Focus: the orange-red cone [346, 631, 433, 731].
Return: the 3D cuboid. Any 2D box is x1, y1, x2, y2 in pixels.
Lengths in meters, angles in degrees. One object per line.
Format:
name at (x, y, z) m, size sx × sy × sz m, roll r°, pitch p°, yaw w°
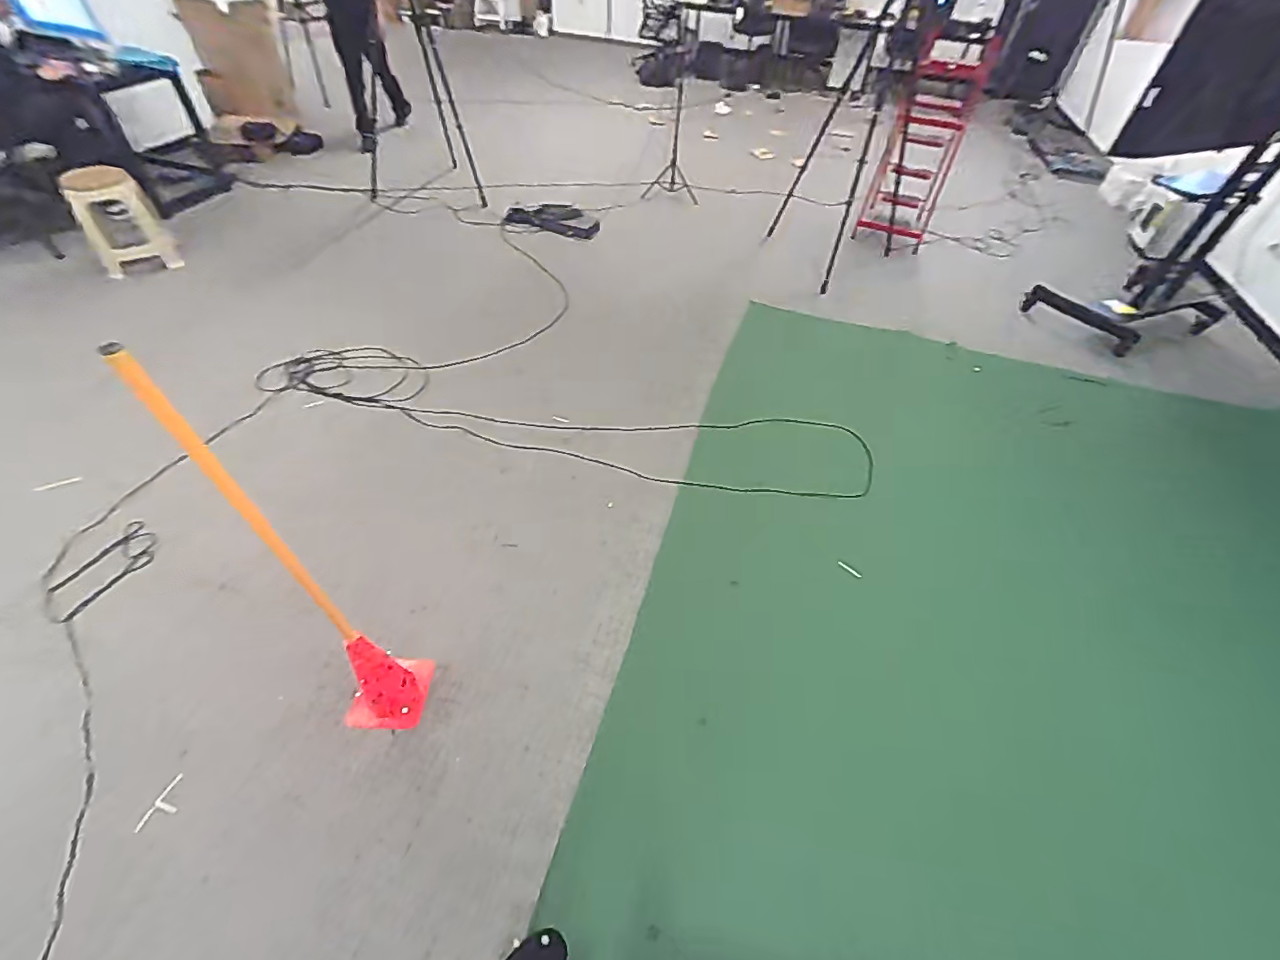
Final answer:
orange-red cone at (-0.707, 0.500, 1.438) m, size 0.198 × 0.360 × 0.199 m, roll 5°, pitch 46°, yaw -1°
